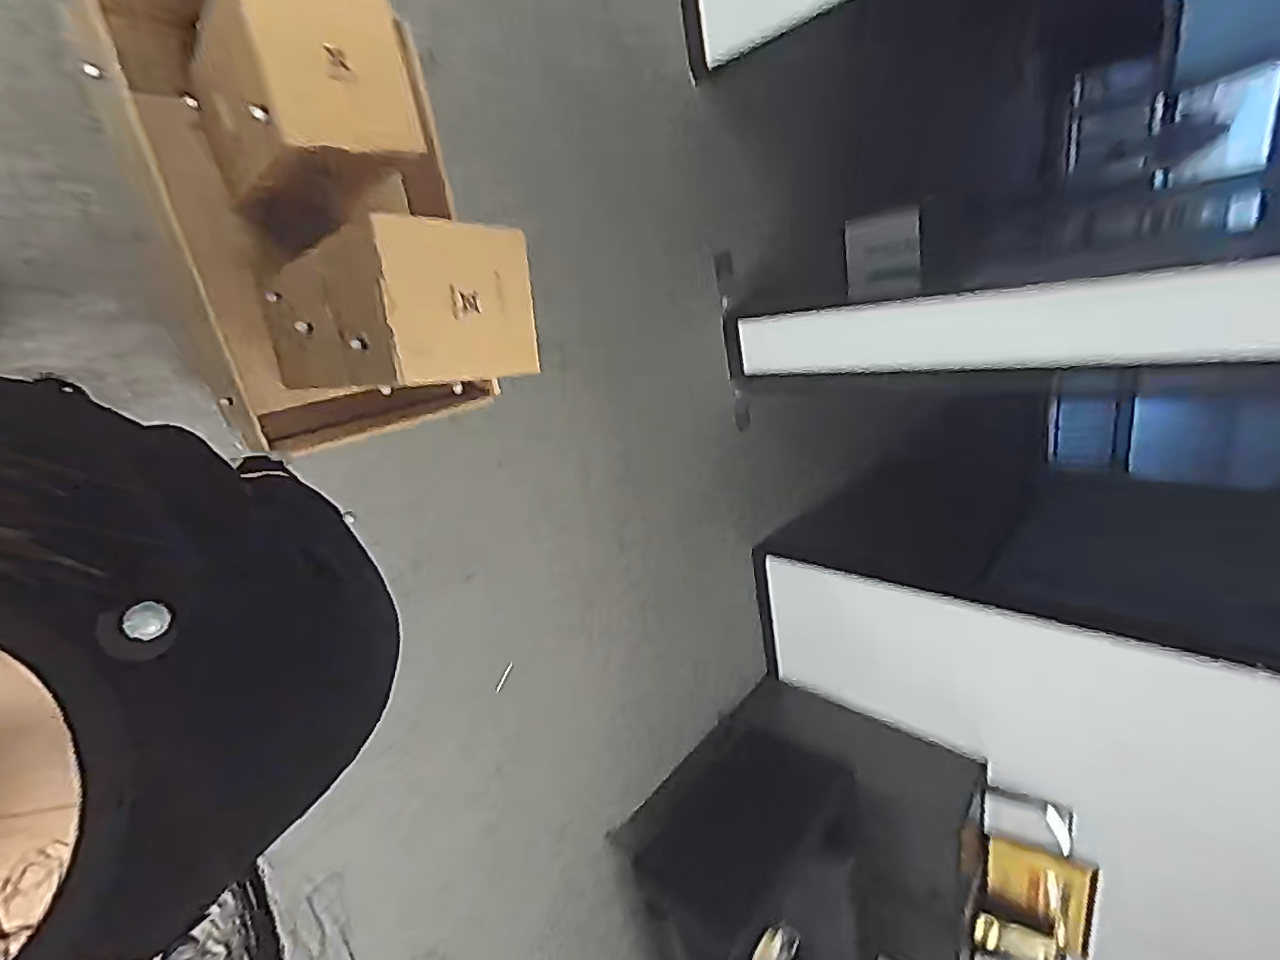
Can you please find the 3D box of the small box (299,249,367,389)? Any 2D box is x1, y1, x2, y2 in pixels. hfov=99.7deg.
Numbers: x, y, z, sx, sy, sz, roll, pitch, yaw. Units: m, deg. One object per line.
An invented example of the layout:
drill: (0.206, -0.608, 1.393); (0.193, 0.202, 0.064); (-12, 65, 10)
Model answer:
small box: (-0.358, -0.219, 0.760); (0.179, 0.176, 0.168); (-17, 109, -41)

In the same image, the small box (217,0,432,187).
small box: (-0.395, -0.487, 0.679); (0.168, 0.176, 0.179); (-26, 116, -39)

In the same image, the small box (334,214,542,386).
small box: (-0.243, -0.200, 0.644); (0.179, 0.176, 0.168); (-16, 108, -43)
